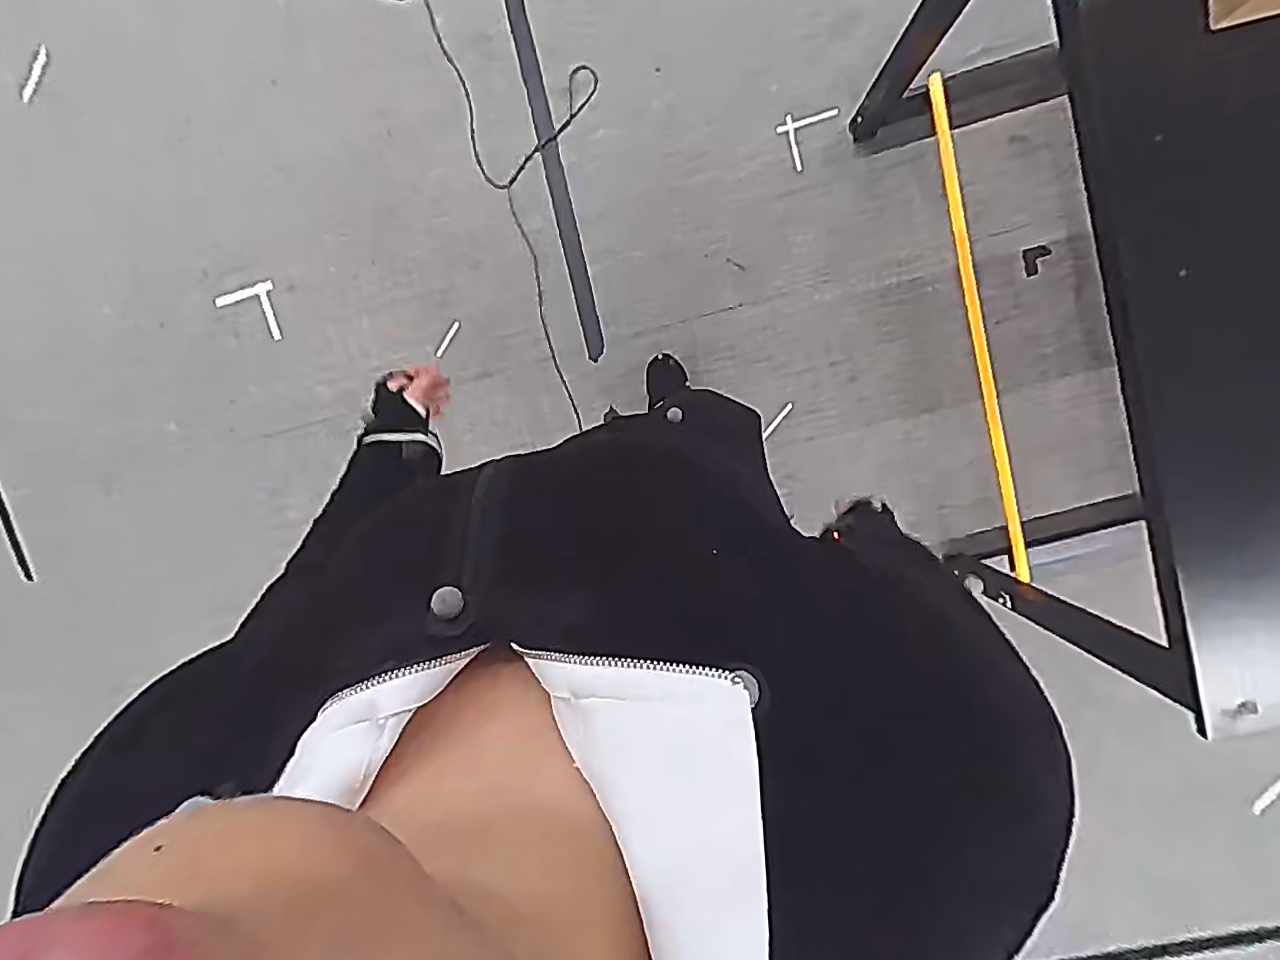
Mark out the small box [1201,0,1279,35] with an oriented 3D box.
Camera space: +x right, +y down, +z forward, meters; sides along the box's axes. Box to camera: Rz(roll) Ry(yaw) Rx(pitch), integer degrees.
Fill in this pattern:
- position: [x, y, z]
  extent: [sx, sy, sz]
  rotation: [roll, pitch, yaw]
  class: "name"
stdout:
- position: [0.729, -0.605, 0.542]
  extent: [0.179, 0.176, 0.168]
  rotation: [-12, 95, 5]
  class: "small box"
